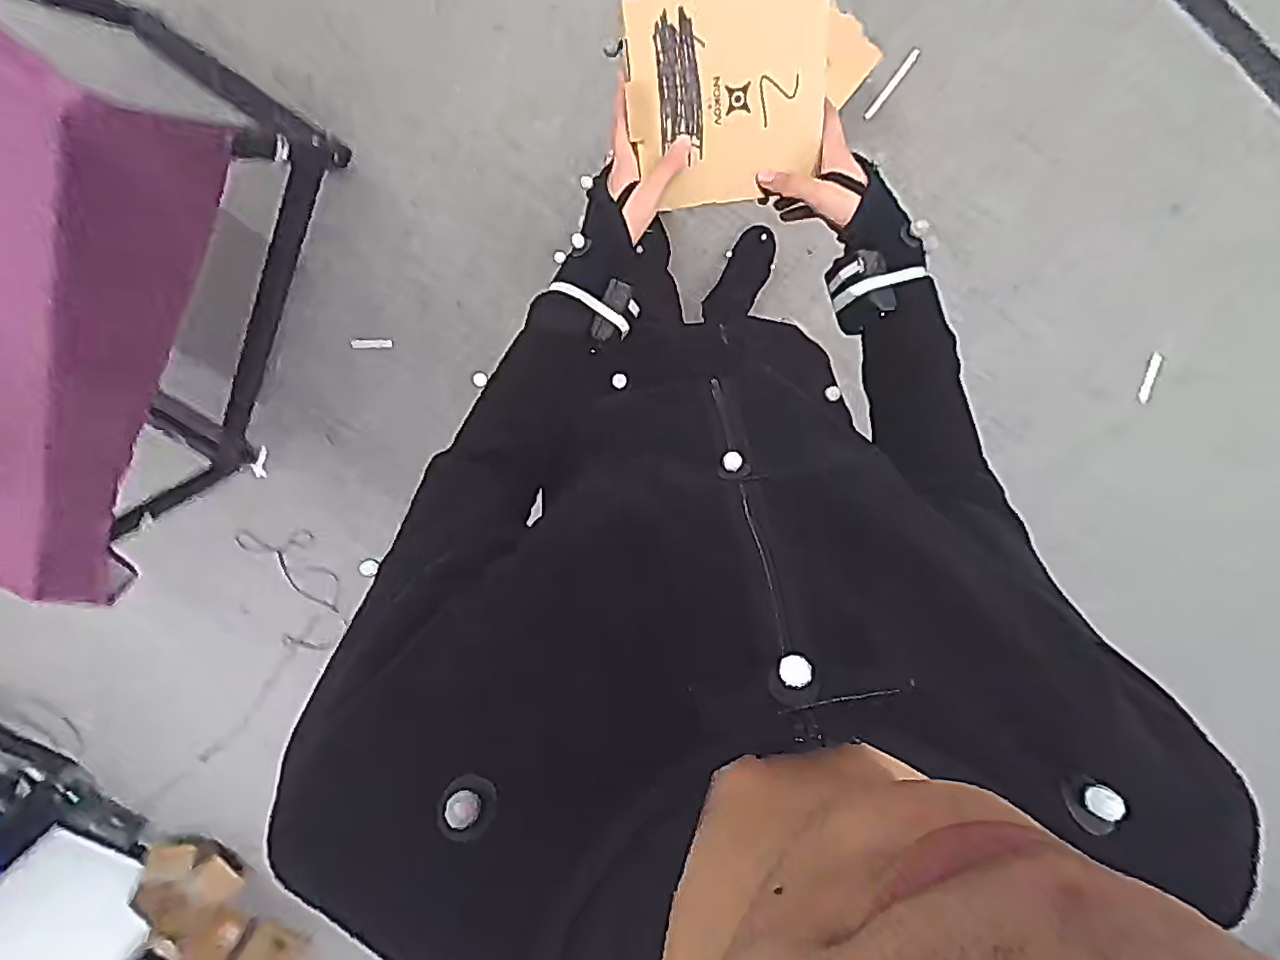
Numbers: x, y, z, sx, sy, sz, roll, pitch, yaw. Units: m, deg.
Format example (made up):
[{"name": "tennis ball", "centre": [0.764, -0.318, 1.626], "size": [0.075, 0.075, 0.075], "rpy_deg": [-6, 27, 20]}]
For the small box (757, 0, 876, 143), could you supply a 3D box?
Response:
[{"name": "small box", "centre": [0.370, -0.866, 1.169], "size": [0.168, 0.176, 0.179], "rpy_deg": [38, 116, -11]}]
